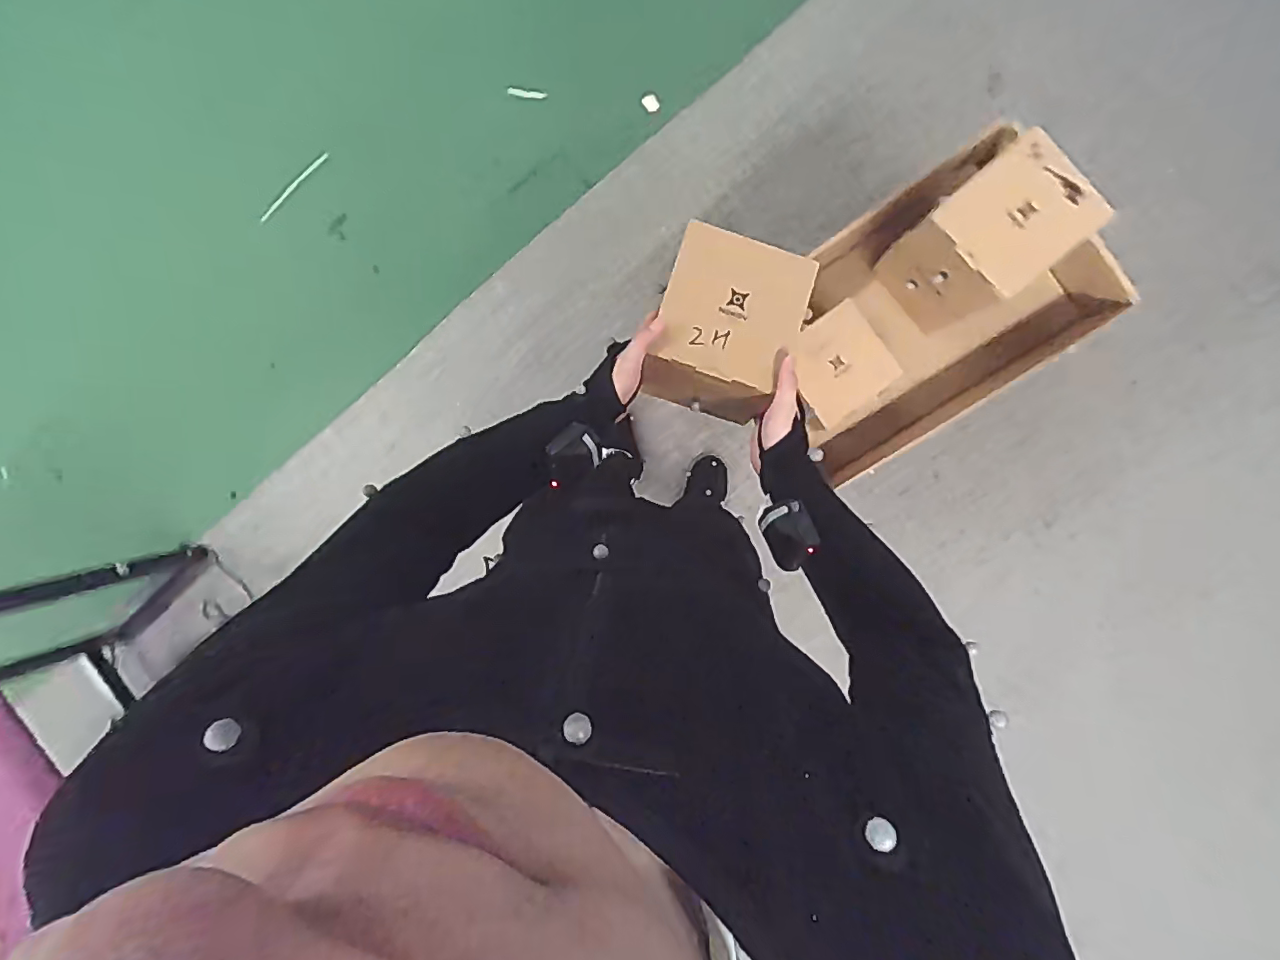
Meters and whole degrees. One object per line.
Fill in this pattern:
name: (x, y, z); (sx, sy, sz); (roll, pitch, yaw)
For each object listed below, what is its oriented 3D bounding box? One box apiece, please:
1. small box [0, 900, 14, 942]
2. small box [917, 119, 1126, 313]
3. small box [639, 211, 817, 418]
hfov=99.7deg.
small box: (-1.603, 1.057, 1.224); (0.179, 0.176, 0.168); (-38, 88, 11)
small box: (0.551, -0.380, 0.818); (0.179, 0.176, 0.168); (-39, 89, 13)
small box: (0.101, -0.199, 0.700); (0.168, 0.176, 0.179); (18, 84, -1)
